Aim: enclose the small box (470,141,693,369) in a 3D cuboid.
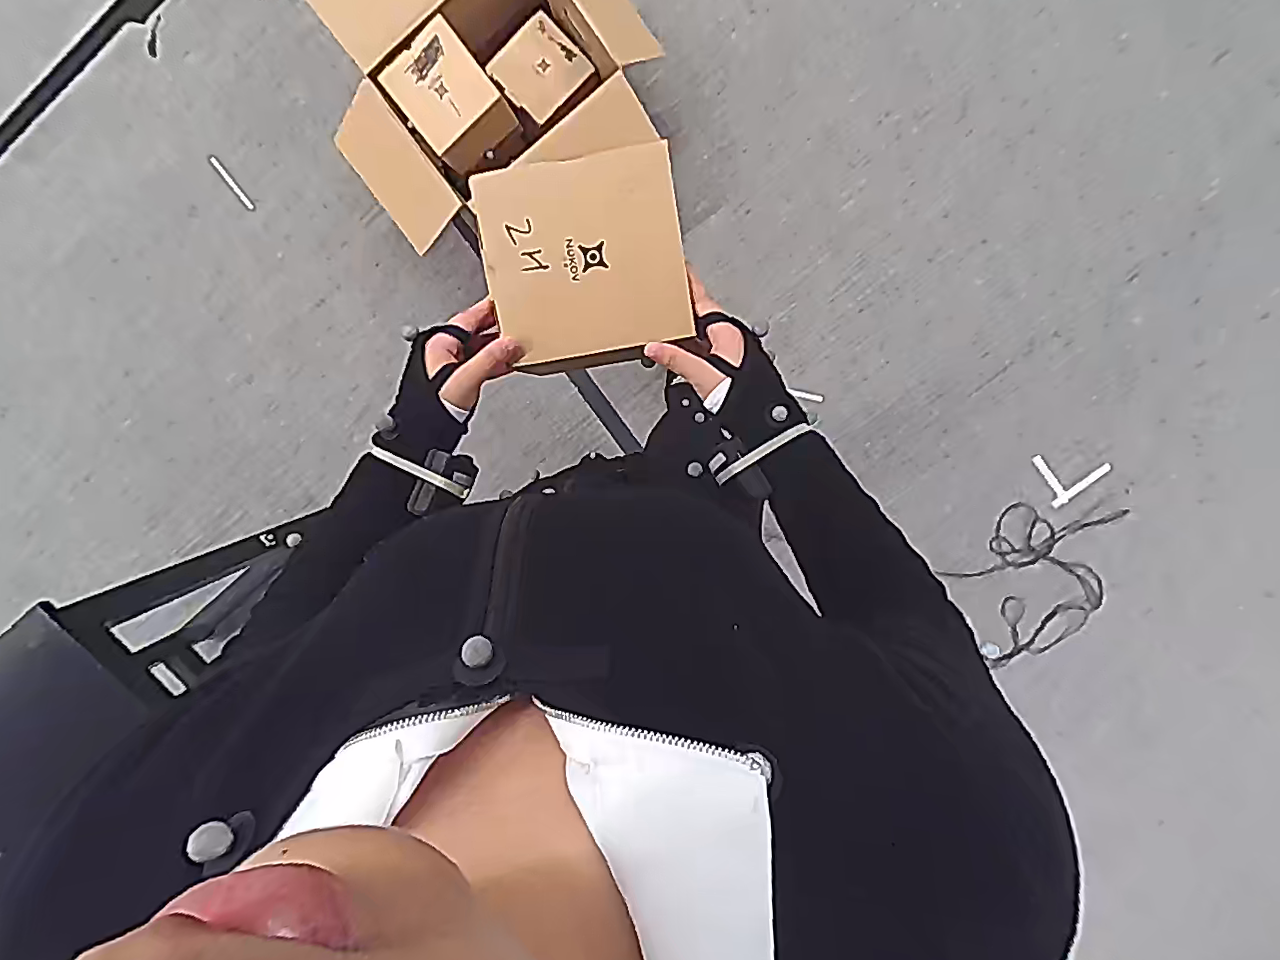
[{"bbox_3d":[-0.050,-0.212,0.556,0.179,0.176,0.168,-10,99,3],"label":"small box"}]
